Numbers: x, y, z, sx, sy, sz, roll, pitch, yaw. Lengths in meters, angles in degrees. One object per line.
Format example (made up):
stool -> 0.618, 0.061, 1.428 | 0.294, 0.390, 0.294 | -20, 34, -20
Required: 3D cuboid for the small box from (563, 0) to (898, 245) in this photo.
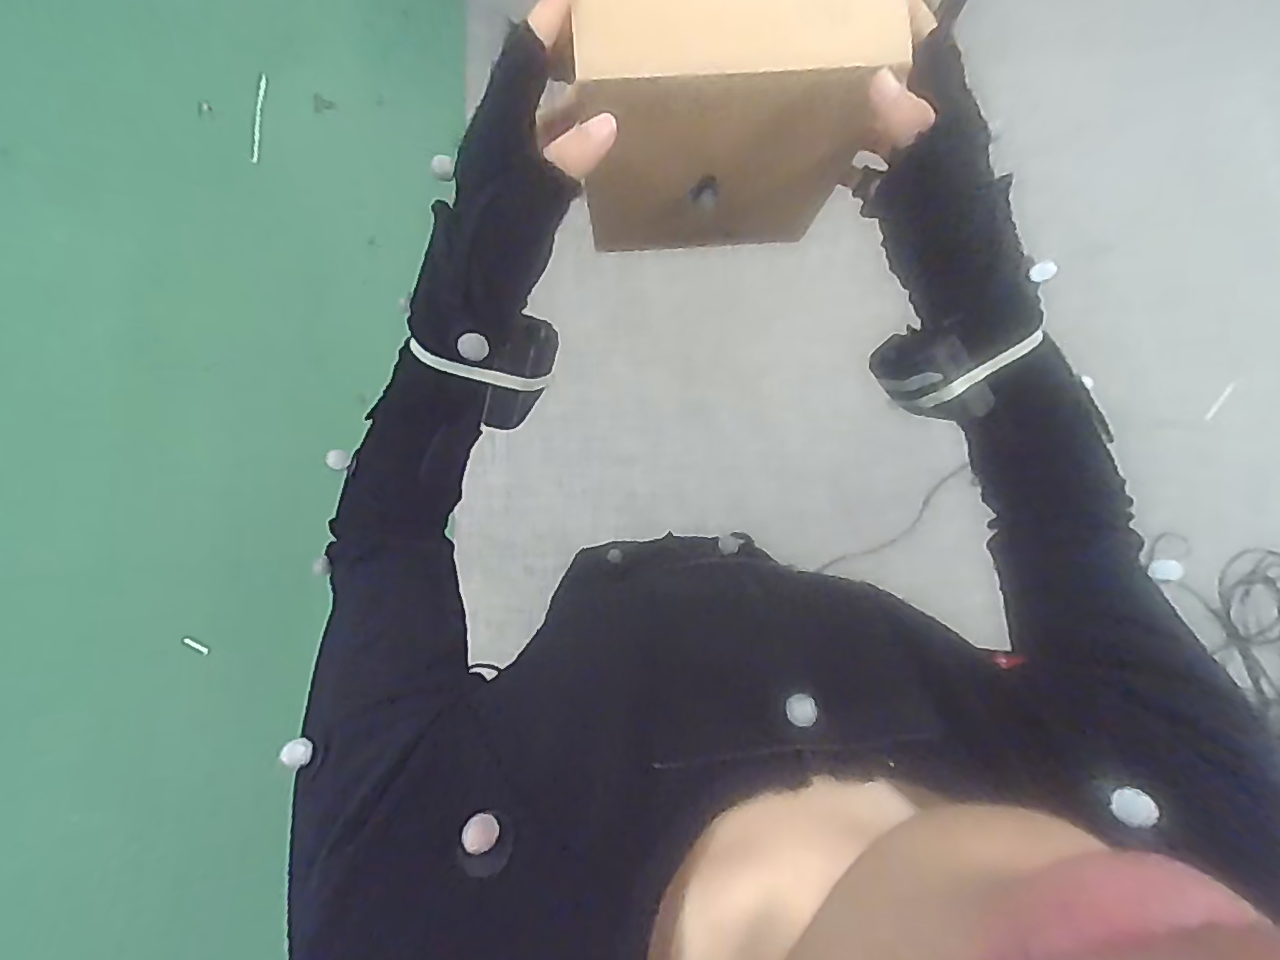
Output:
small box -> 0.041, -0.271, 0.351 | 0.168, 0.176, 0.179 | -4, 84, -2
